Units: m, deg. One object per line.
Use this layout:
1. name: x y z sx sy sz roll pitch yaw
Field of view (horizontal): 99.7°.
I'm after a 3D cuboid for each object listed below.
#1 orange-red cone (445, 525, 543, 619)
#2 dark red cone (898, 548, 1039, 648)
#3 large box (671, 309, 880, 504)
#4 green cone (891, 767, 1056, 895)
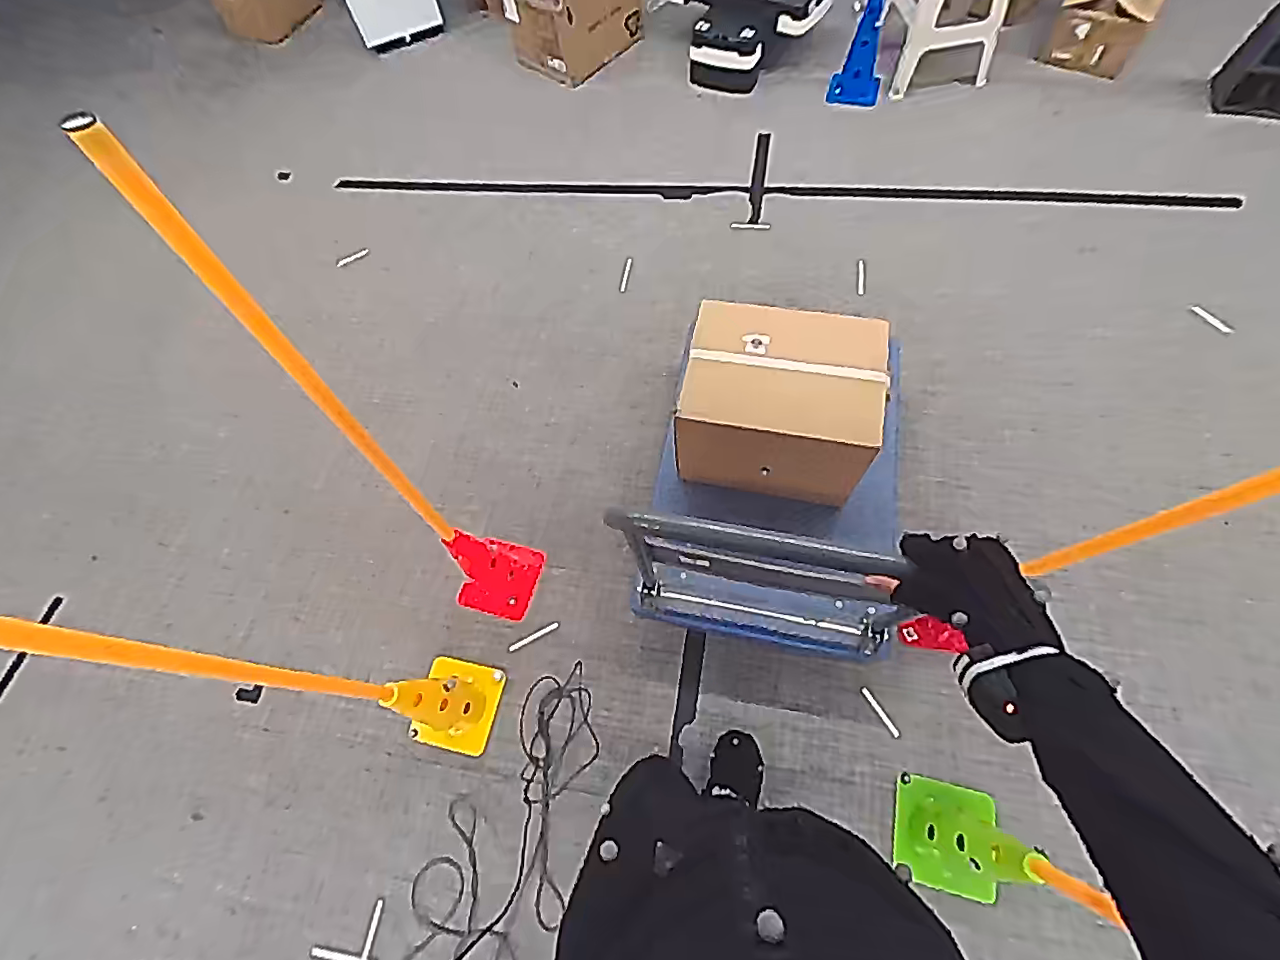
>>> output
1. orange-red cone: -0.395 0.188 1.328 0.198 0.360 0.199 14 66 11
2. dark red cone: 0.728 0.229 1.173 0.201 0.394 0.202 7 66 7
3. large box: 0.305 -0.161 1.261 0.408 0.320 0.320 10 67 11
4. green cone: 0.628 0.670 0.995 0.202 0.368 0.200 11 66 9
